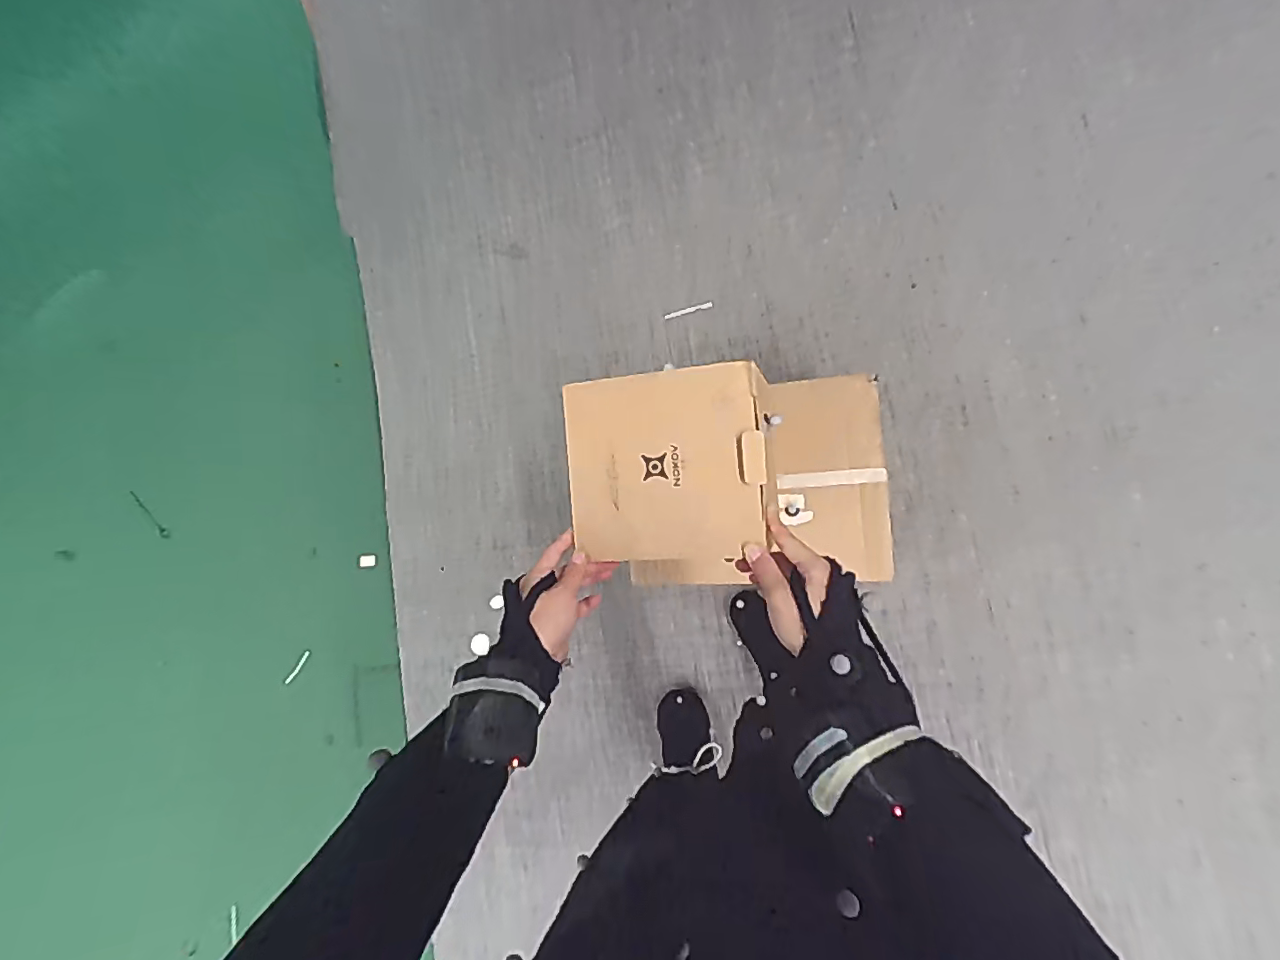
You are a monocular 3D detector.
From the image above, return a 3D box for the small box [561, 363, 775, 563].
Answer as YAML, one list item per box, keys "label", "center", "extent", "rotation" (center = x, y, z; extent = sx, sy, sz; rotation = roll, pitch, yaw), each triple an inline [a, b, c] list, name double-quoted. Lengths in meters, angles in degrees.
- label: "small box"
  center: [0.040, -0.013, 0.550]
  extent: [0.179, 0.176, 0.168]
  rotation: [-6, 89, 20]

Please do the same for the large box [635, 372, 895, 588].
- label: "large box"
  center: [0.213, 0.019, 0.996]
  extent: [0.408, 0.320, 0.320]
  rotation: [-5, 85, 16]
